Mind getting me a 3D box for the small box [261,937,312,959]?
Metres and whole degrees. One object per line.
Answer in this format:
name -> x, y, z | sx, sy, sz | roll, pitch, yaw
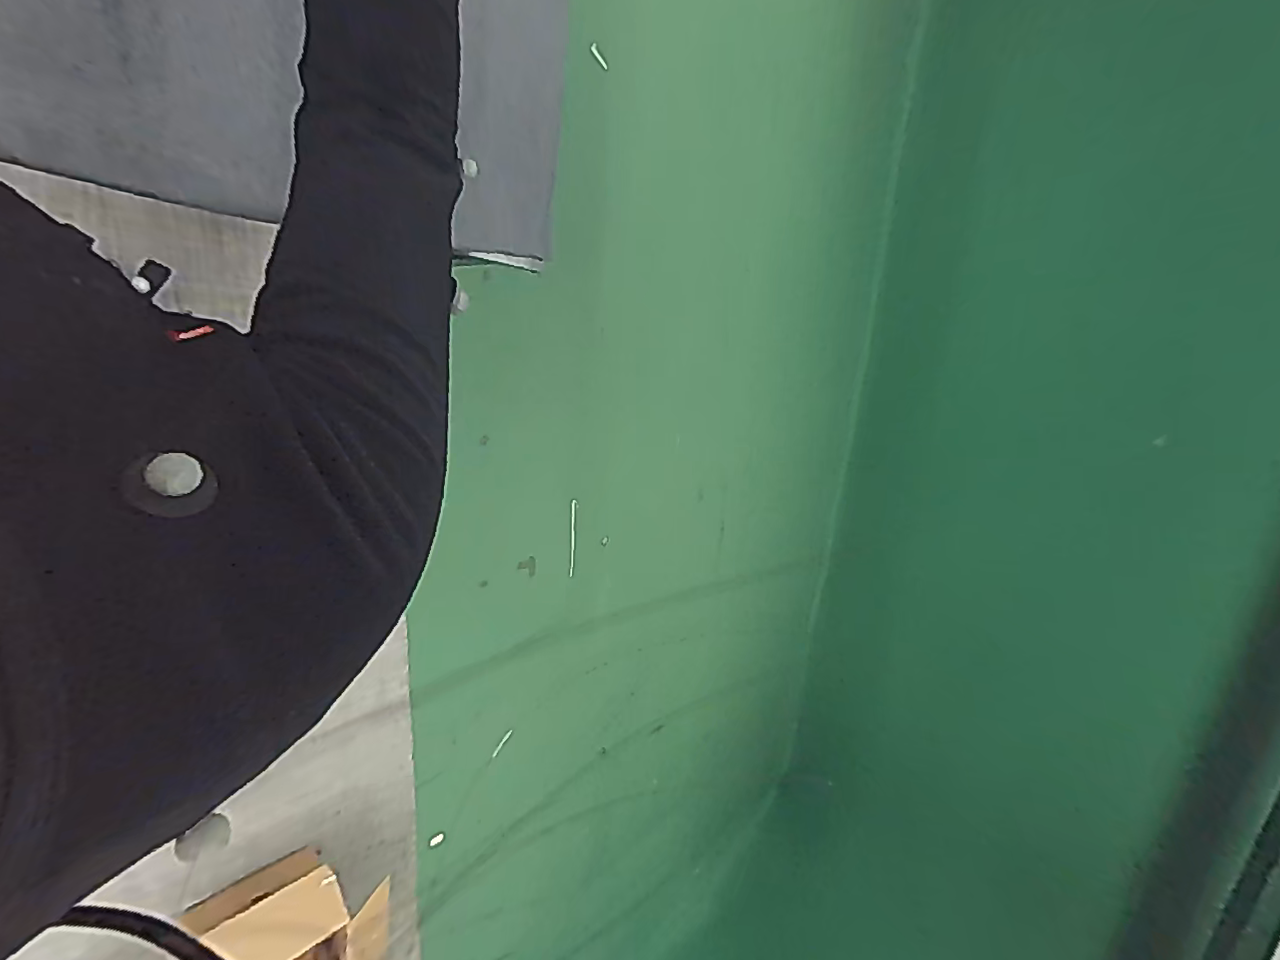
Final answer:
small box -> -0.922, 1.326, 1.357 | 0.179, 0.176, 0.168 | -6, 108, -47
